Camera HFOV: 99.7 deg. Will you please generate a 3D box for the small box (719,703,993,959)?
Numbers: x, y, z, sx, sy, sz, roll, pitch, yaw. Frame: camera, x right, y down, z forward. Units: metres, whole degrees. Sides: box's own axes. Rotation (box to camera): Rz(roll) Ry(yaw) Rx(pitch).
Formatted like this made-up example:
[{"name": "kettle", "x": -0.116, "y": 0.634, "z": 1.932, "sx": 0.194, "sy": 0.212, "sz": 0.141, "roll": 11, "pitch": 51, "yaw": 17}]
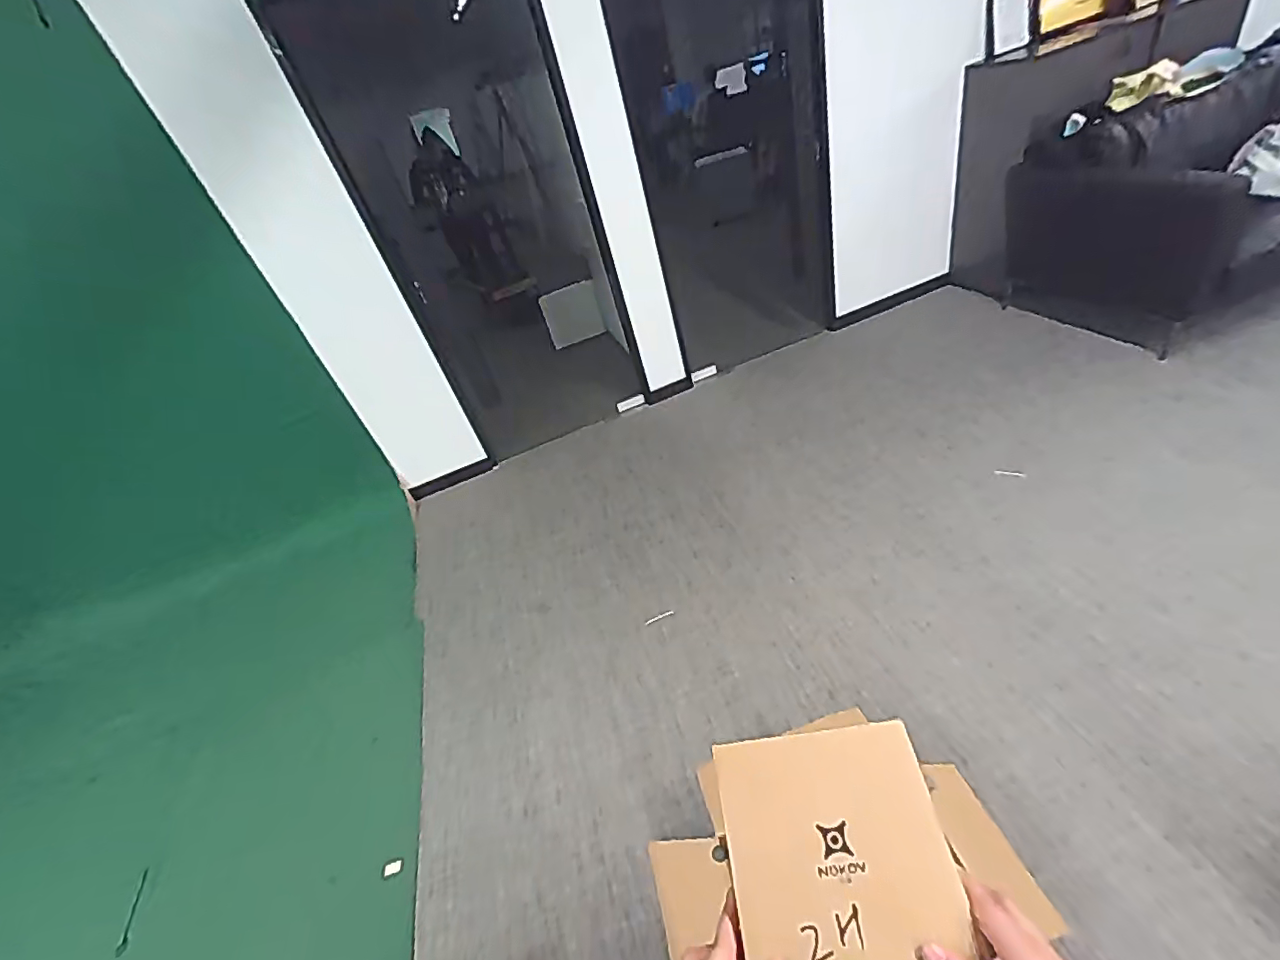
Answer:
[{"name": "small box", "x": 0.170, "y": 0.324, "z": 0.491, "sx": 0.168, "sy": 0.176, "sz": 0.179, "roll": -11, "pitch": 53, "yaw": 5}]
